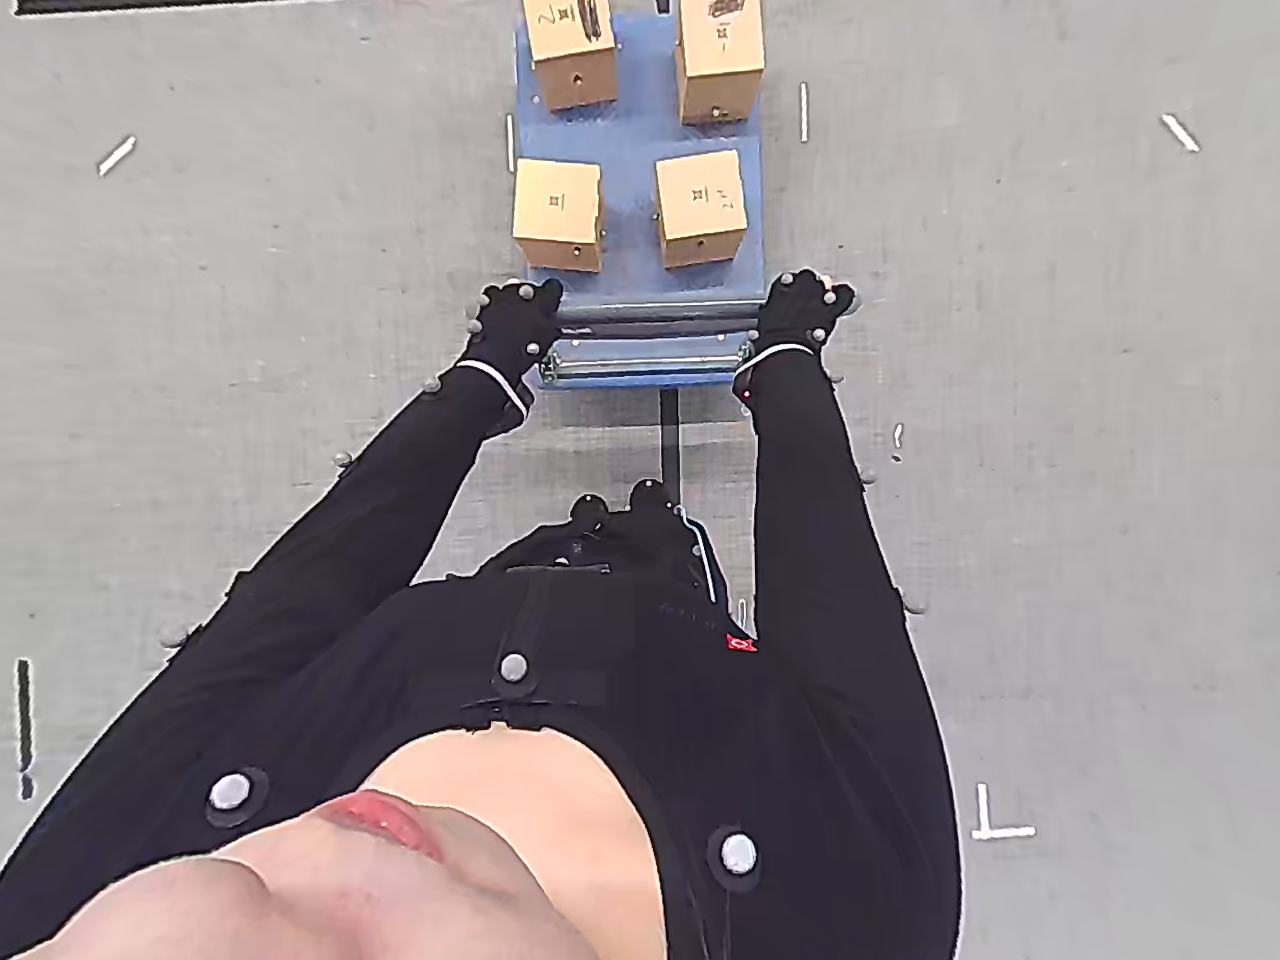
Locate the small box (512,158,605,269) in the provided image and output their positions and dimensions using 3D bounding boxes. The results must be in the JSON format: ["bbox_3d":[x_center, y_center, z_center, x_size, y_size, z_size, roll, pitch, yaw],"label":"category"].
[{"bbox_3d":[-0.175,-0.586,1.206,0.179,0.176,0.168,4,92,-1],"label":"small box"}]

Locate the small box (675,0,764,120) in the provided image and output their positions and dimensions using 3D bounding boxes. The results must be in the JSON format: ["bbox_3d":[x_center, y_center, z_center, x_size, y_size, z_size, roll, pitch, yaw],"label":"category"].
[{"bbox_3d":[0.168,-0.935,1.189,0.168,0.176,0.179,-5,93,1],"label":"small box"}]

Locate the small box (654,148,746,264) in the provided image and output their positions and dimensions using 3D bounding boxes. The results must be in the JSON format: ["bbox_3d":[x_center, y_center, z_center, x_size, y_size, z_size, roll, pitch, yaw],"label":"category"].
[{"bbox_3d":[0.128,-0.599,1.203,0.179,0.176,0.168,-8,92,1],"label":"small box"}]
